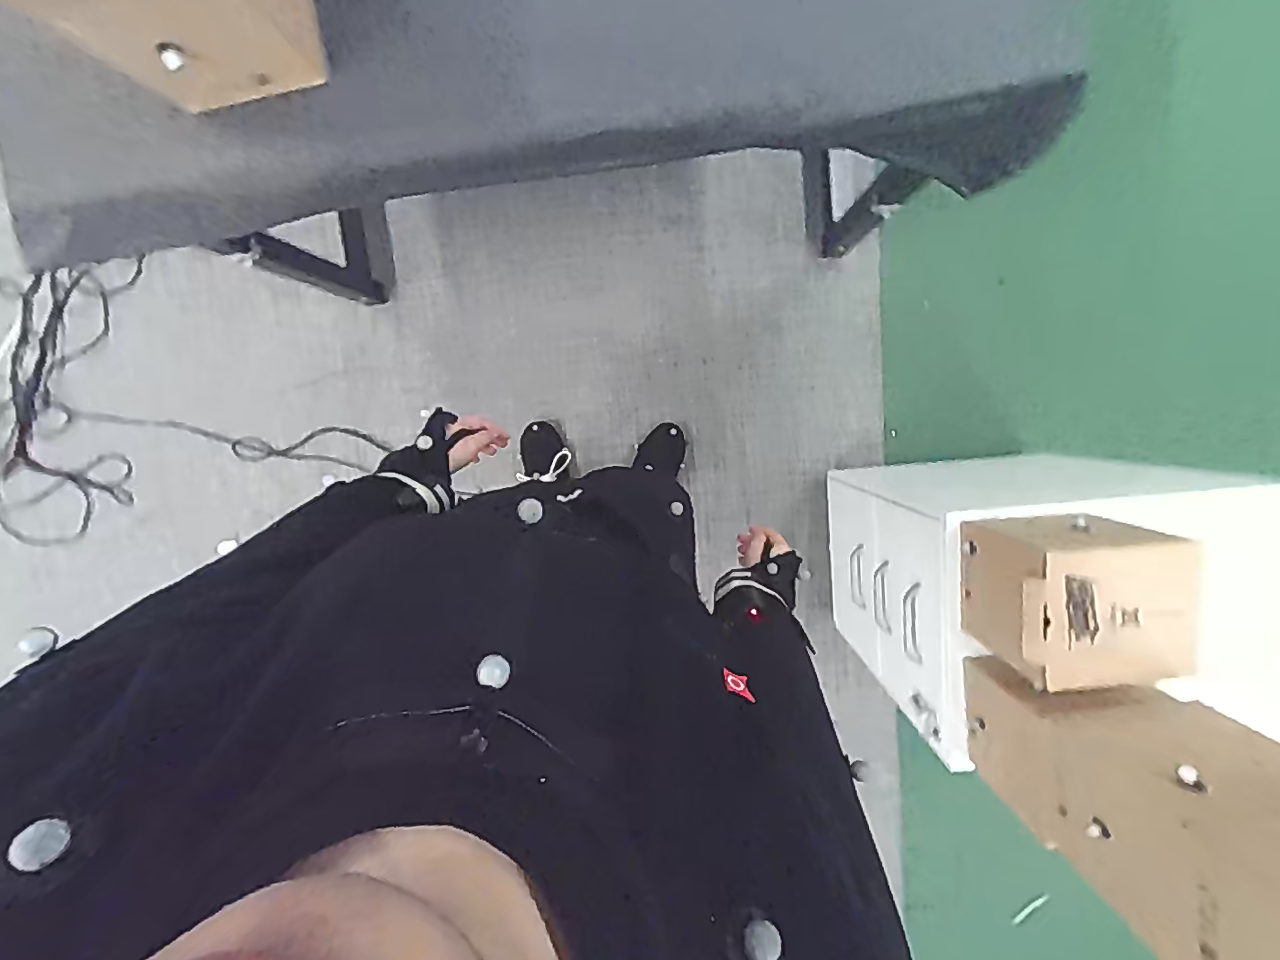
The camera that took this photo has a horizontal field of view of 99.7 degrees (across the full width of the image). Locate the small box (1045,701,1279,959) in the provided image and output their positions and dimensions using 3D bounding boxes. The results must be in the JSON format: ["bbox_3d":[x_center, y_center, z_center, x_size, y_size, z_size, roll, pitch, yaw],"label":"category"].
[{"bbox_3d":[0.552,0.350,0.552,0.179,0.176,0.168,-8,97,2],"label":"small box"}]

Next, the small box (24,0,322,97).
[{"bbox_3d":[-0.436,-0.496,0.505,0.168,0.176,0.179,-10,96,3],"label":"small box"}]
